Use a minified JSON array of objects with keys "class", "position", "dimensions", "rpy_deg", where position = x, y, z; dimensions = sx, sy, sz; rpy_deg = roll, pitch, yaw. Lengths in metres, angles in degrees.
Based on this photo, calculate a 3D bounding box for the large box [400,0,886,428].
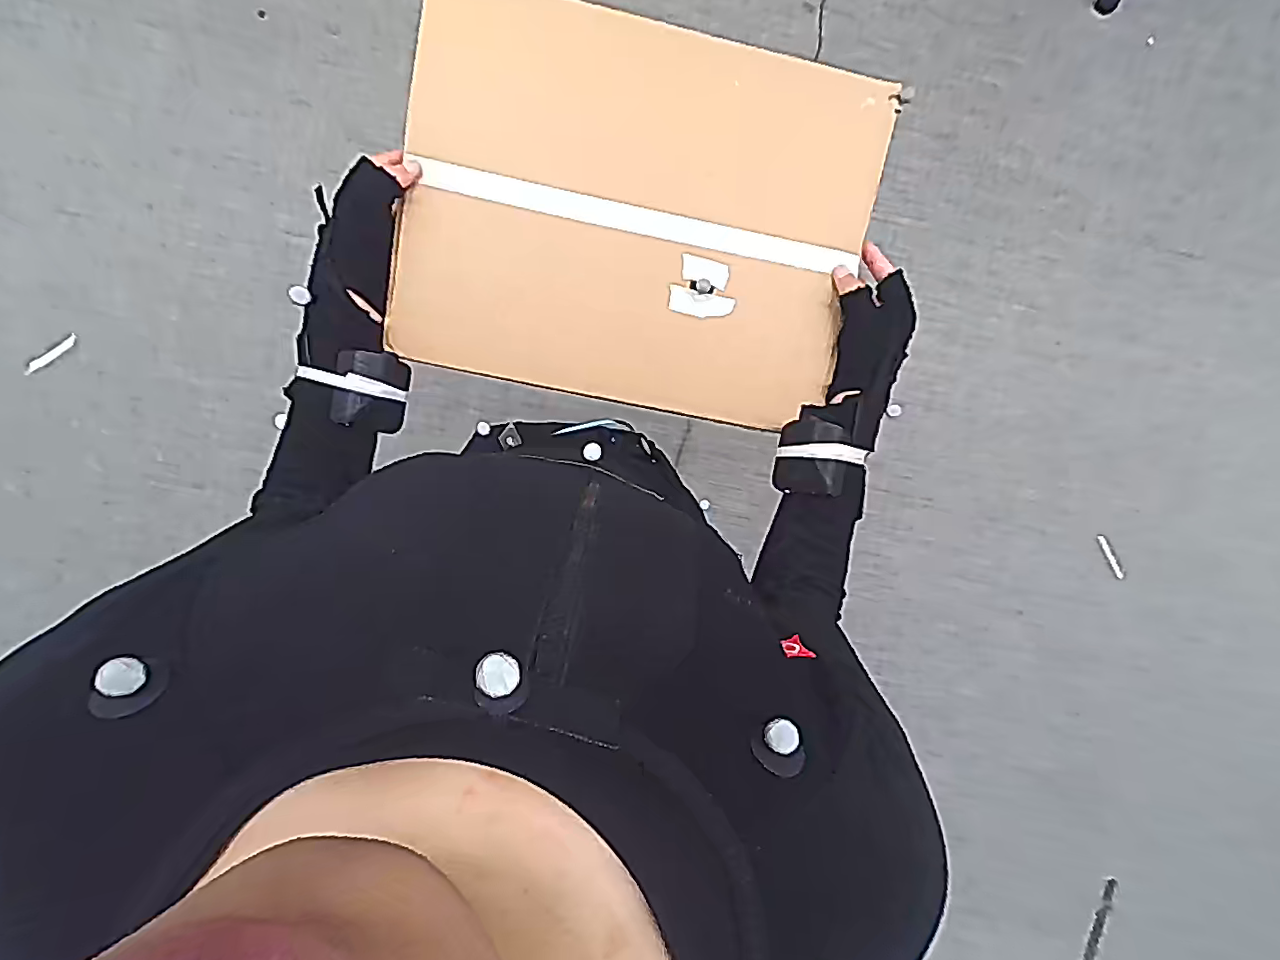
[{"class":"large box","position":[-0.011,-0.253,0.633],"dimensions":[0.408,0.320,0.320],"rpy_deg":[10,99,-6]}]
